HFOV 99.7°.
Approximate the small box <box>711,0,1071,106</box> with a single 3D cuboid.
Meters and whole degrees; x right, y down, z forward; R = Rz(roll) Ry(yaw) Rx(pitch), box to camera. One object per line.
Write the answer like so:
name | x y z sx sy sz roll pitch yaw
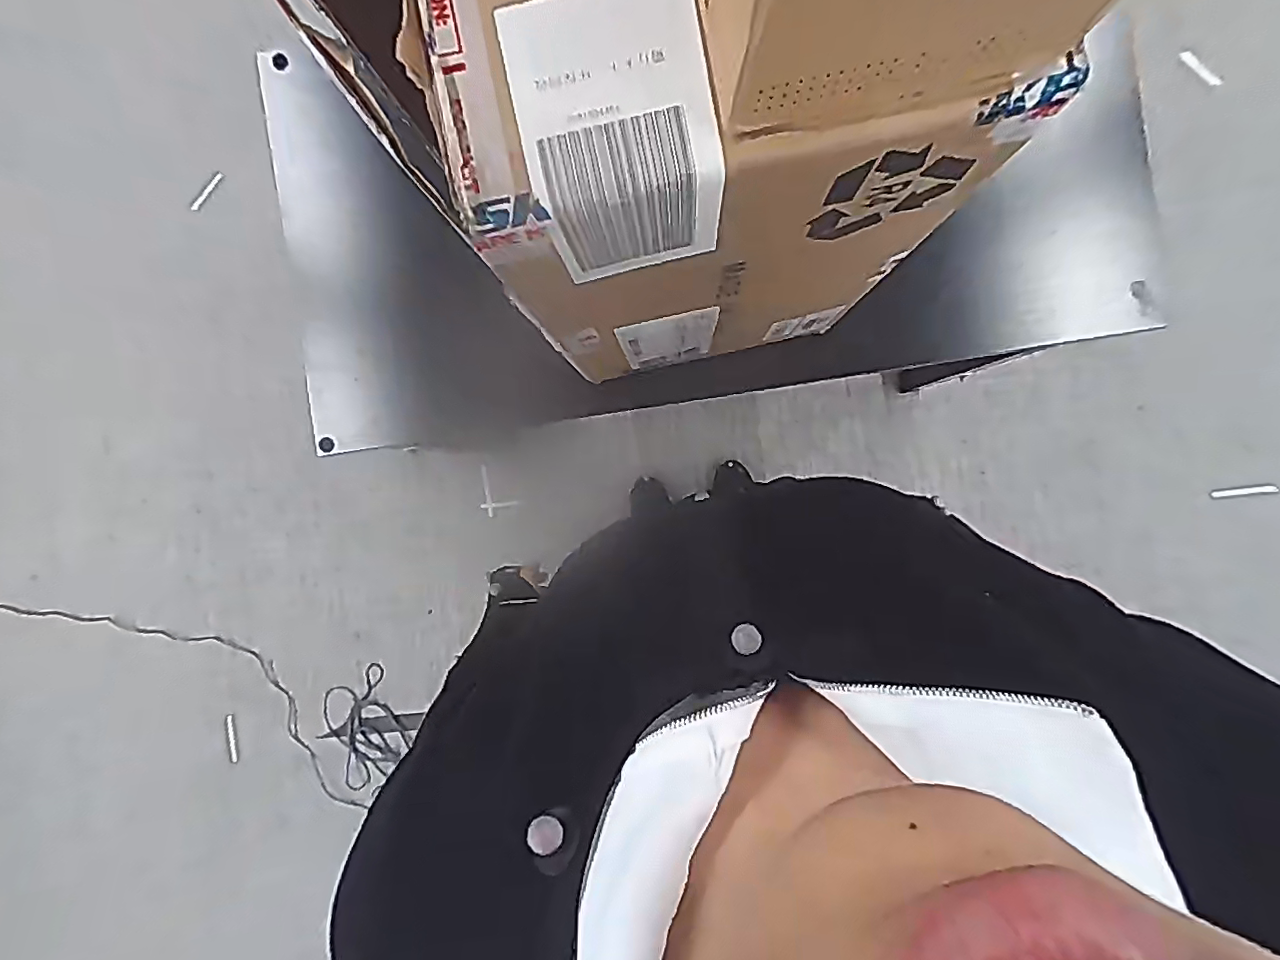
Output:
small box | 0.109 -0.280 0.197 0.179 0.176 0.168 -12 92 3
